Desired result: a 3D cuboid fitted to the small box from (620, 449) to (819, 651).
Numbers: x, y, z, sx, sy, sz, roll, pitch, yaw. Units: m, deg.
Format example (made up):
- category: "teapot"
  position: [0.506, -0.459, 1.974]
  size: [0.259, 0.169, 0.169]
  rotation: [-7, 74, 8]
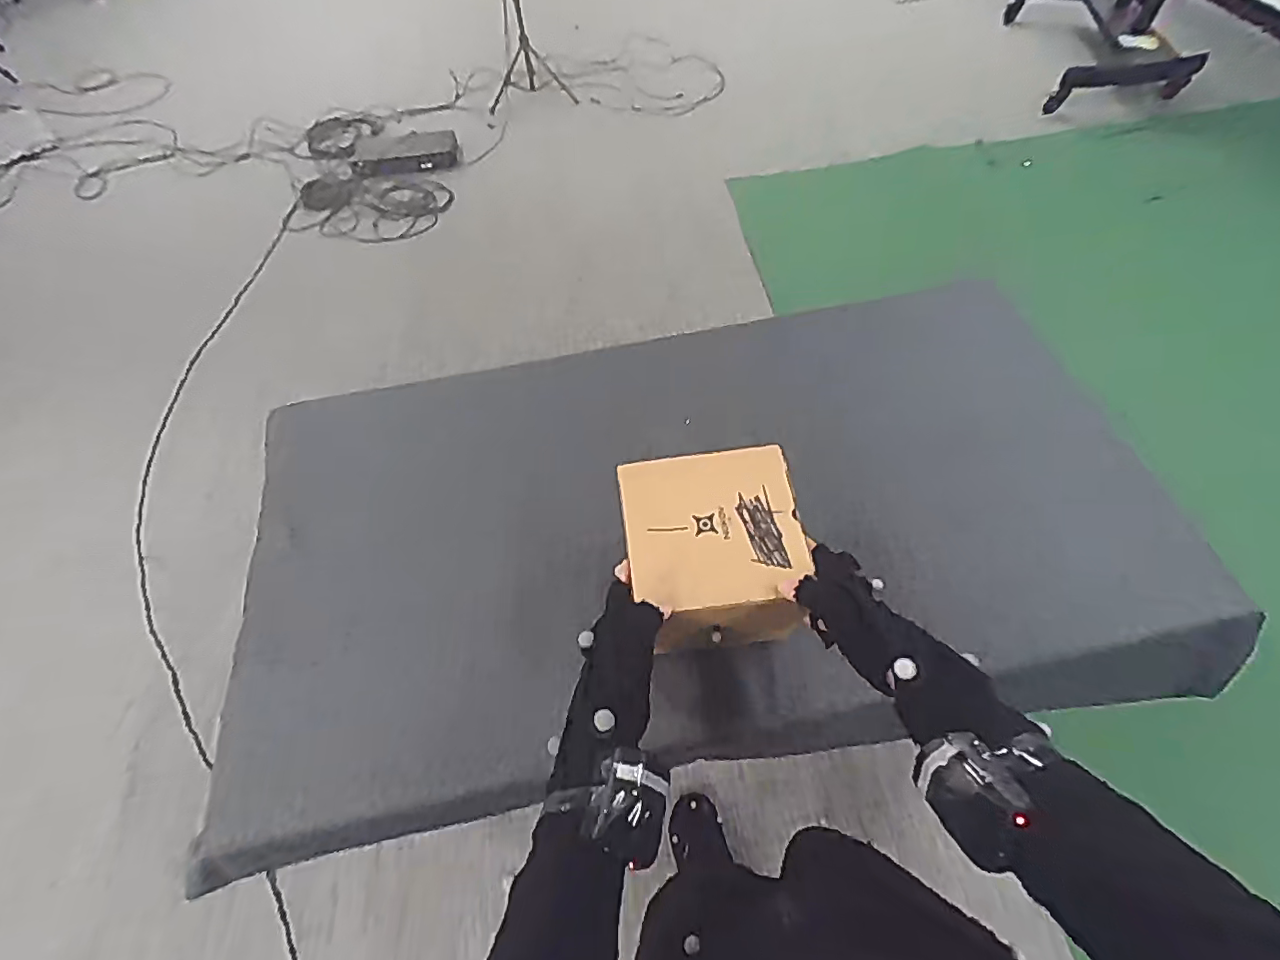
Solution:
- category: "small box"
  position: [0.074, 0.085, 0.604]
  size: [0.179, 0.176, 0.168]
  rotation: [-7, 61, -2]
